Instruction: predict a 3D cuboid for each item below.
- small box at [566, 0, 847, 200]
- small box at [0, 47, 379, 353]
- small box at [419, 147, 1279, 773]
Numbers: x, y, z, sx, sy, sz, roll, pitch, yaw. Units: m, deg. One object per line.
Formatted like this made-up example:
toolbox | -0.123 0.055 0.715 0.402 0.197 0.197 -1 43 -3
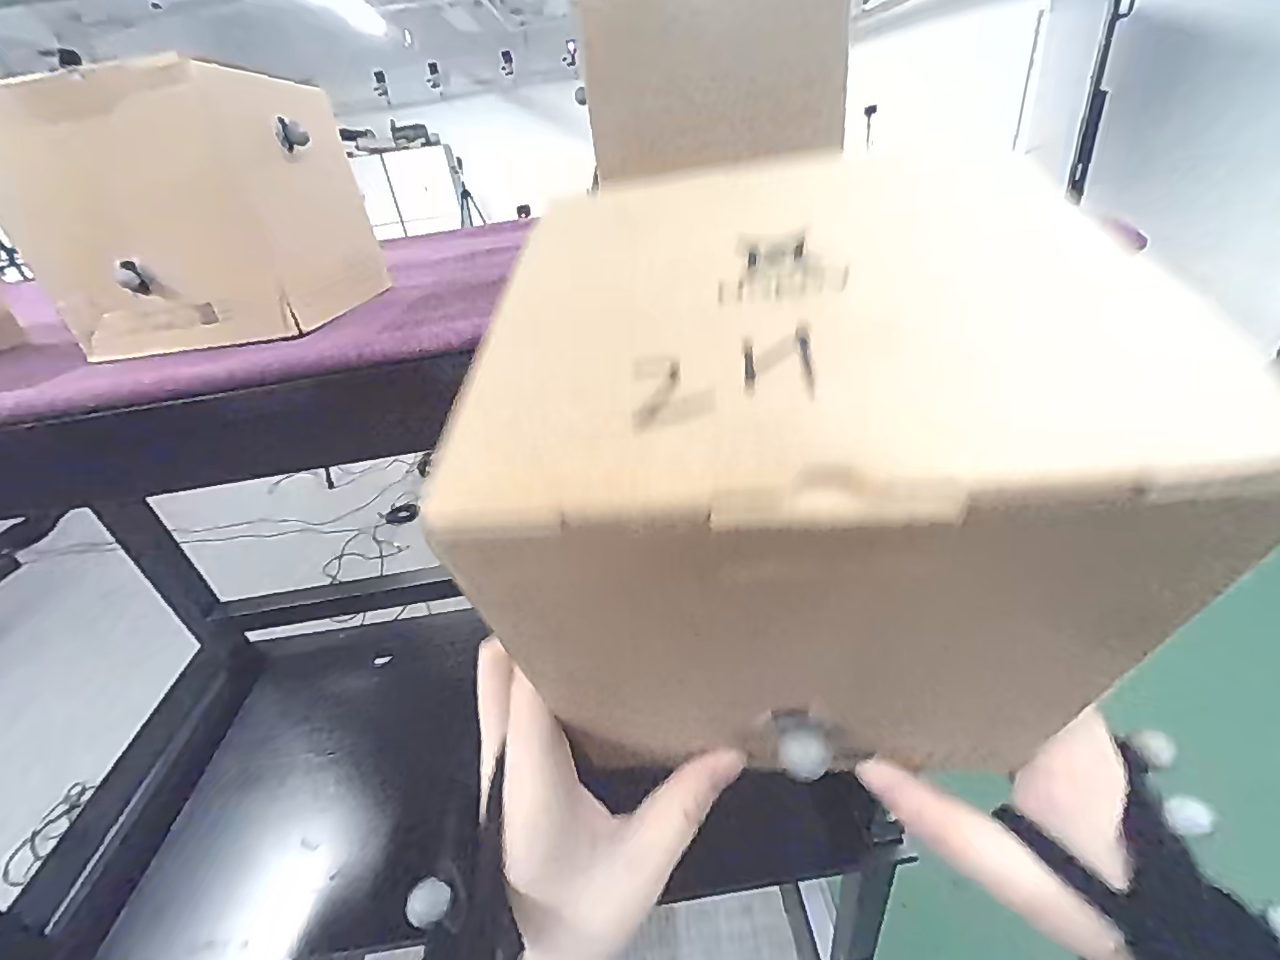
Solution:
small box | 0.047 -0.271 0.418 0.168 0.176 0.179 -7 33 4
small box | -0.335 -0.211 0.426 0.168 0.176 0.179 -7 31 3
small box | 0.049 -0.003 0.218 0.168 0.176 0.179 -5 47 10
